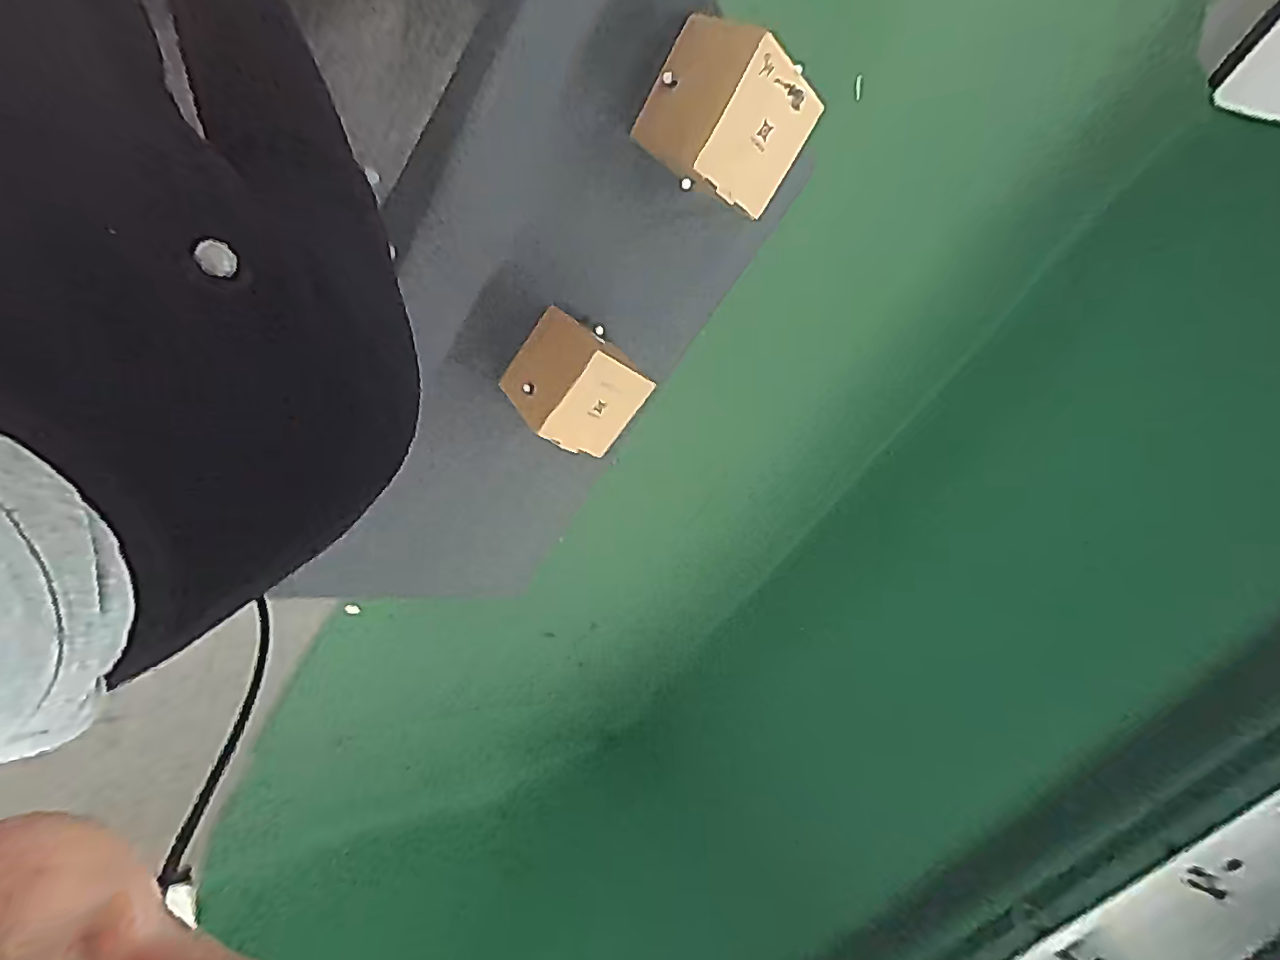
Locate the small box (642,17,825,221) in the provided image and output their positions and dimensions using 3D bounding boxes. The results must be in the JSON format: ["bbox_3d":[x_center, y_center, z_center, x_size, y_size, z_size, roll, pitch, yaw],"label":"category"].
[{"bbox_3d":[0.127,-0.527,0.797,0.168,0.176,0.179,7,124,-47],"label":"small box"}]

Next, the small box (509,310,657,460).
[{"bbox_3d":[-0.109,-0.168,0.966,0.168,0.176,0.179,18,114,-52],"label":"small box"}]
